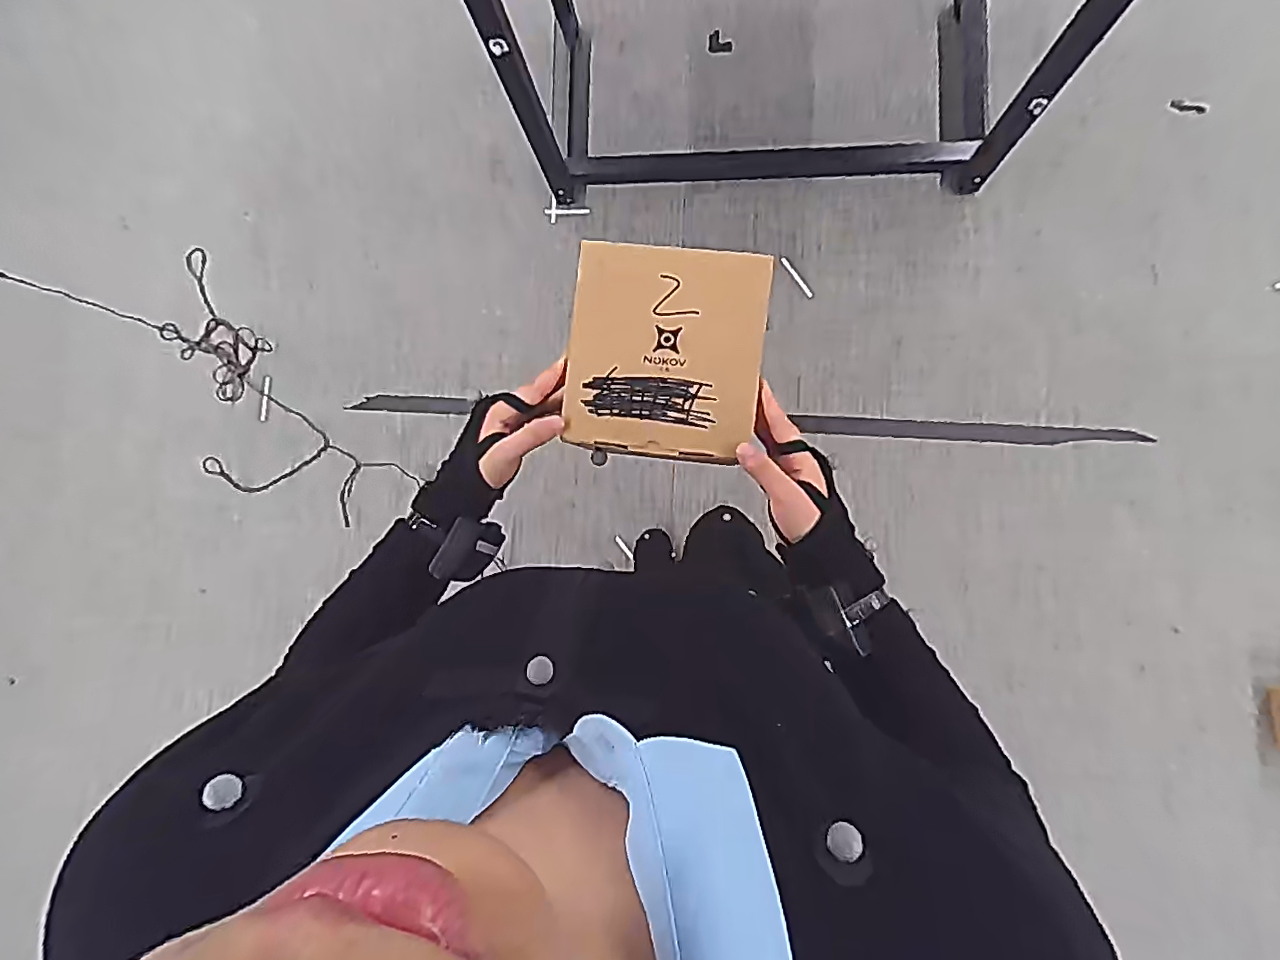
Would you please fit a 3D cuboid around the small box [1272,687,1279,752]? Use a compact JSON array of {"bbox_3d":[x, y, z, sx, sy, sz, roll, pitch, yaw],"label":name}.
[{"bbox_3d":[1.606,0.572,1.223,0.179,0.176,0.168,-4,85,5],"label":"small box"}]
